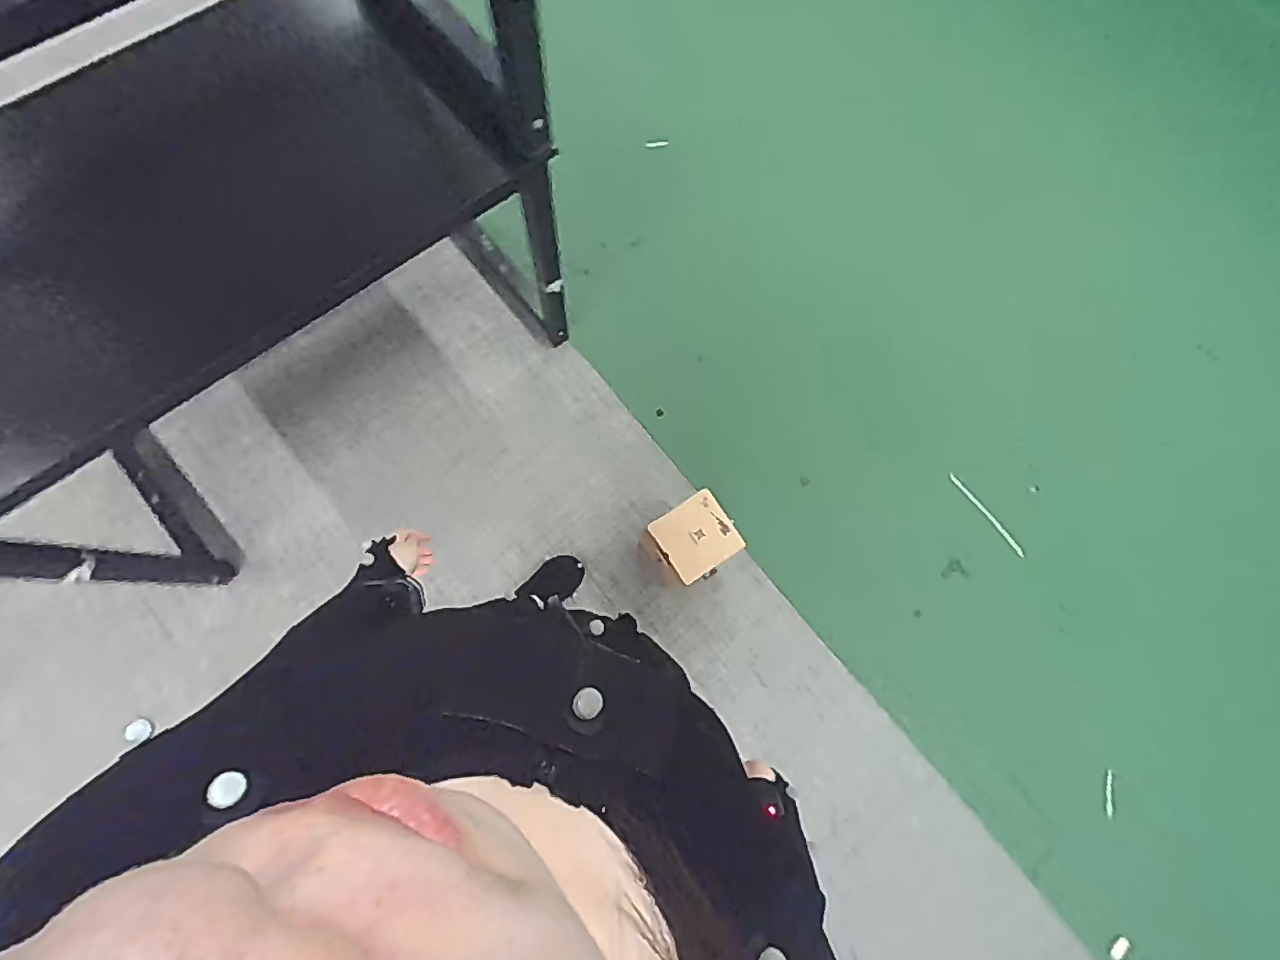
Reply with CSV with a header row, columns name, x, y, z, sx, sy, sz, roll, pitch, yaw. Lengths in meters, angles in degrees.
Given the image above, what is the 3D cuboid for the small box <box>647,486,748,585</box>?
name,x,y,z,sx,sy,sz,roll,pitch,yaw
small box,0.129,0.140,1.302,0.179,0.176,0.168,-32,81,-10
